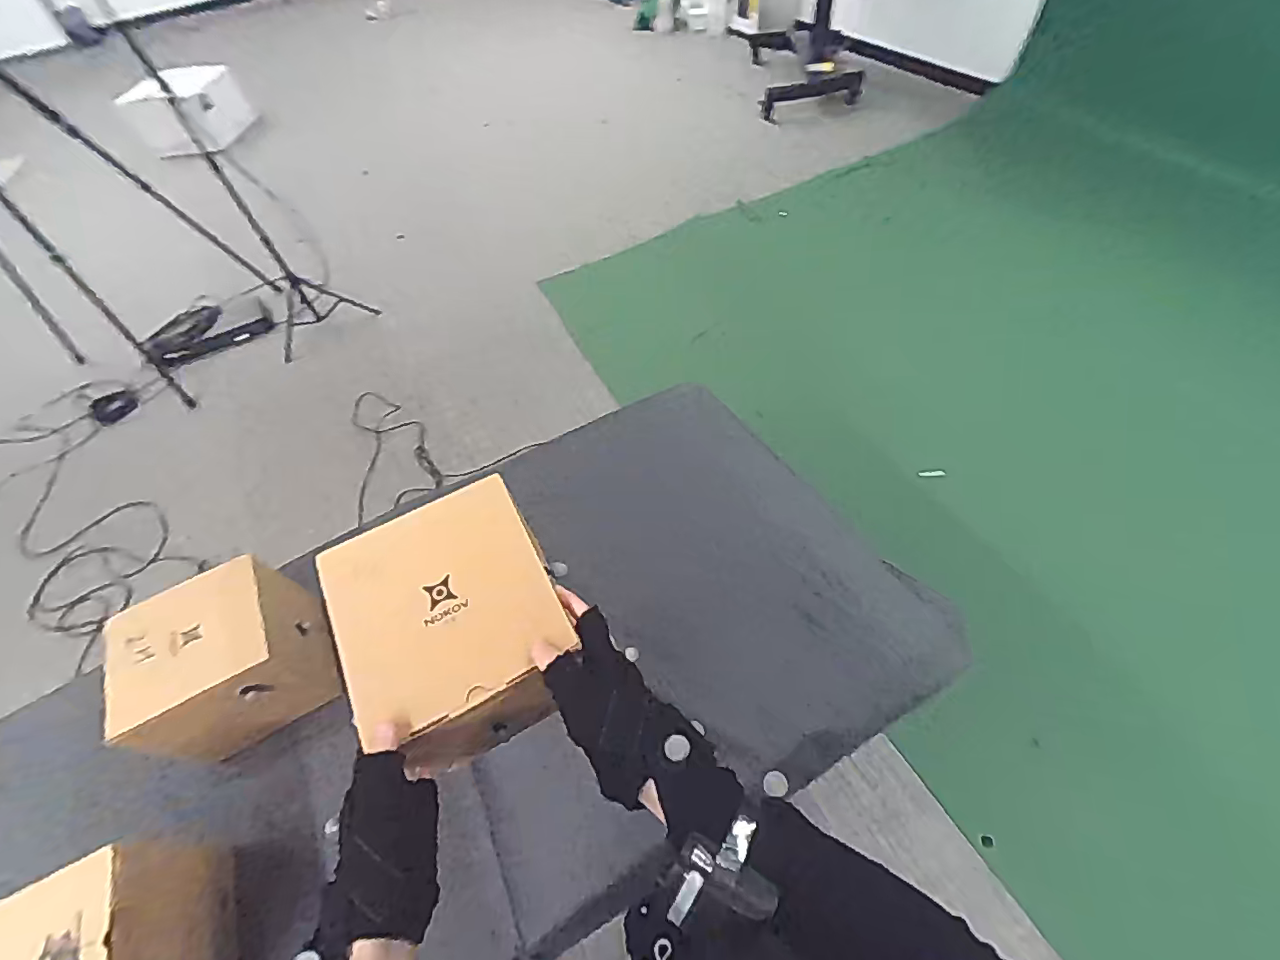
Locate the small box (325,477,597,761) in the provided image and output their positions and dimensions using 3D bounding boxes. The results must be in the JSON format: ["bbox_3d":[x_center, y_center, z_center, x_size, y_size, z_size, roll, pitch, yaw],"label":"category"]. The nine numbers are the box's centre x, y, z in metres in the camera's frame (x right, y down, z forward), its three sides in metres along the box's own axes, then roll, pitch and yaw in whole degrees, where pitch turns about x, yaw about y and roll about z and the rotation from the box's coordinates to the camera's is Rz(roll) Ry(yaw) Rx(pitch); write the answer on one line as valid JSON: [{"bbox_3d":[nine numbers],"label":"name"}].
[{"bbox_3d":[-0.151,0.134,0.497,0.168,0.176,0.179,-25,64,-13],"label":"small box"}]

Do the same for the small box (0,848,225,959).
[{"bbox_3d":[-0.545,0.493,0.529,0.179,0.176,0.168,-26,56,-12],"label":"small box"}]

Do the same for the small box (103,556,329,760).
[{"bbox_3d":[-0.539,0.236,0.709,0.179,0.176,0.168,-28,57,-14],"label":"small box"}]
